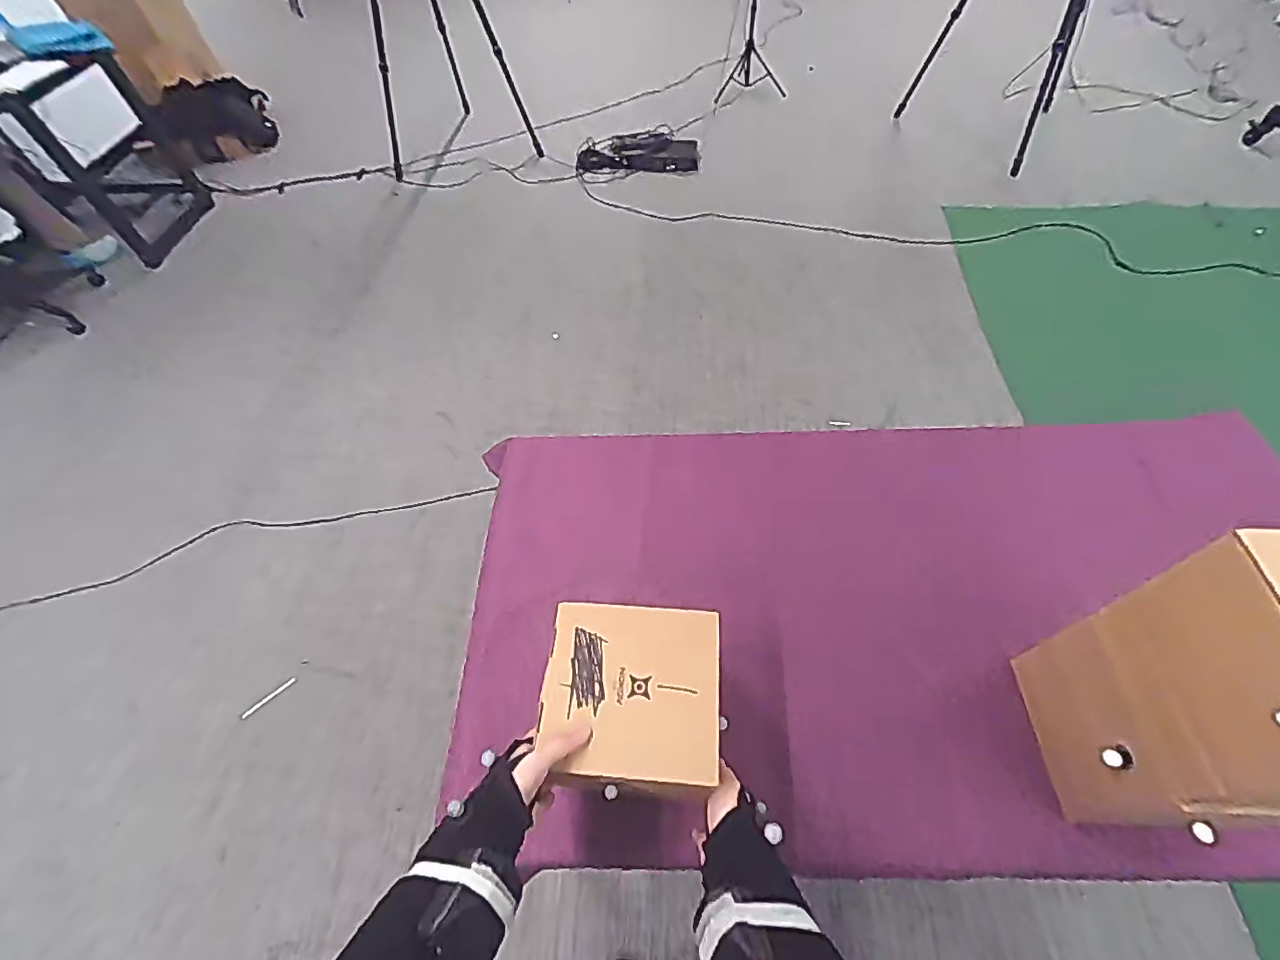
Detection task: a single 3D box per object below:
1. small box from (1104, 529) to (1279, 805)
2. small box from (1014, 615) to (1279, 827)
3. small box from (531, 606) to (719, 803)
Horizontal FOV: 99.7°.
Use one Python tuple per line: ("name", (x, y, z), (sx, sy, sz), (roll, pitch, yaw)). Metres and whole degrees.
("small box", (0.540, 0.156, 0.438), (0.168, 0.176, 0.179), (0, 56, 4))
("small box", (0.542, 0.256, 0.567), (0.168, 0.176, 0.179), (0, 55, 3))
("small box", (-0.005, 0.253, 0.600), (0.179, 0.176, 0.168), (2, 55, 4))
